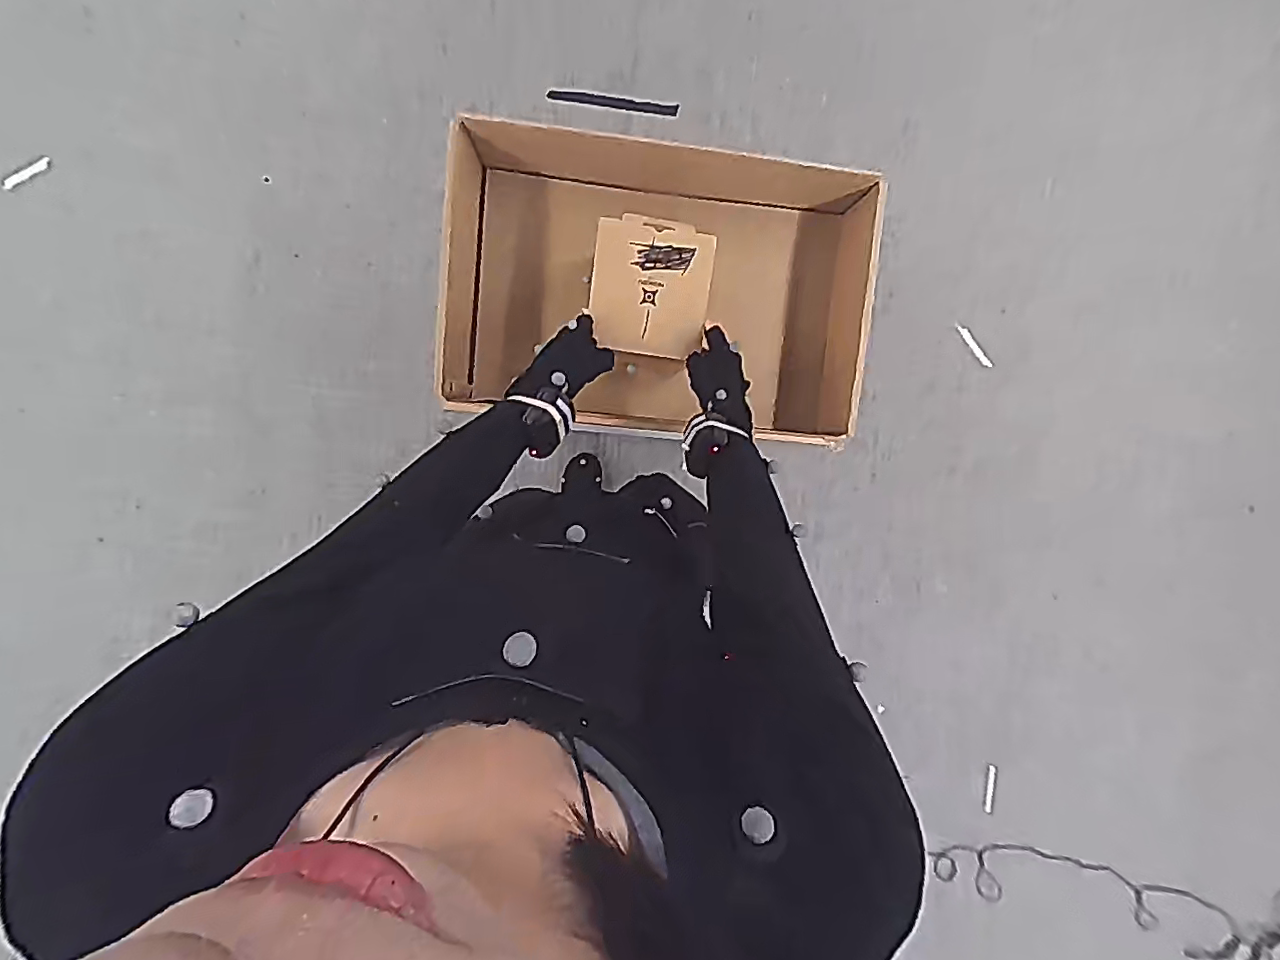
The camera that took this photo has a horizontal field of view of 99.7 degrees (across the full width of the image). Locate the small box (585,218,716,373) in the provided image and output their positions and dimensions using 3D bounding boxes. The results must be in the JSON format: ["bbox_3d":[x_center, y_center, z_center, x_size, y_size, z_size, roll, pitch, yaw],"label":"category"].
[{"bbox_3d":[0.007,-0.266,0.821,0.168,0.176,0.179,7,96,-5],"label":"small box"}]
